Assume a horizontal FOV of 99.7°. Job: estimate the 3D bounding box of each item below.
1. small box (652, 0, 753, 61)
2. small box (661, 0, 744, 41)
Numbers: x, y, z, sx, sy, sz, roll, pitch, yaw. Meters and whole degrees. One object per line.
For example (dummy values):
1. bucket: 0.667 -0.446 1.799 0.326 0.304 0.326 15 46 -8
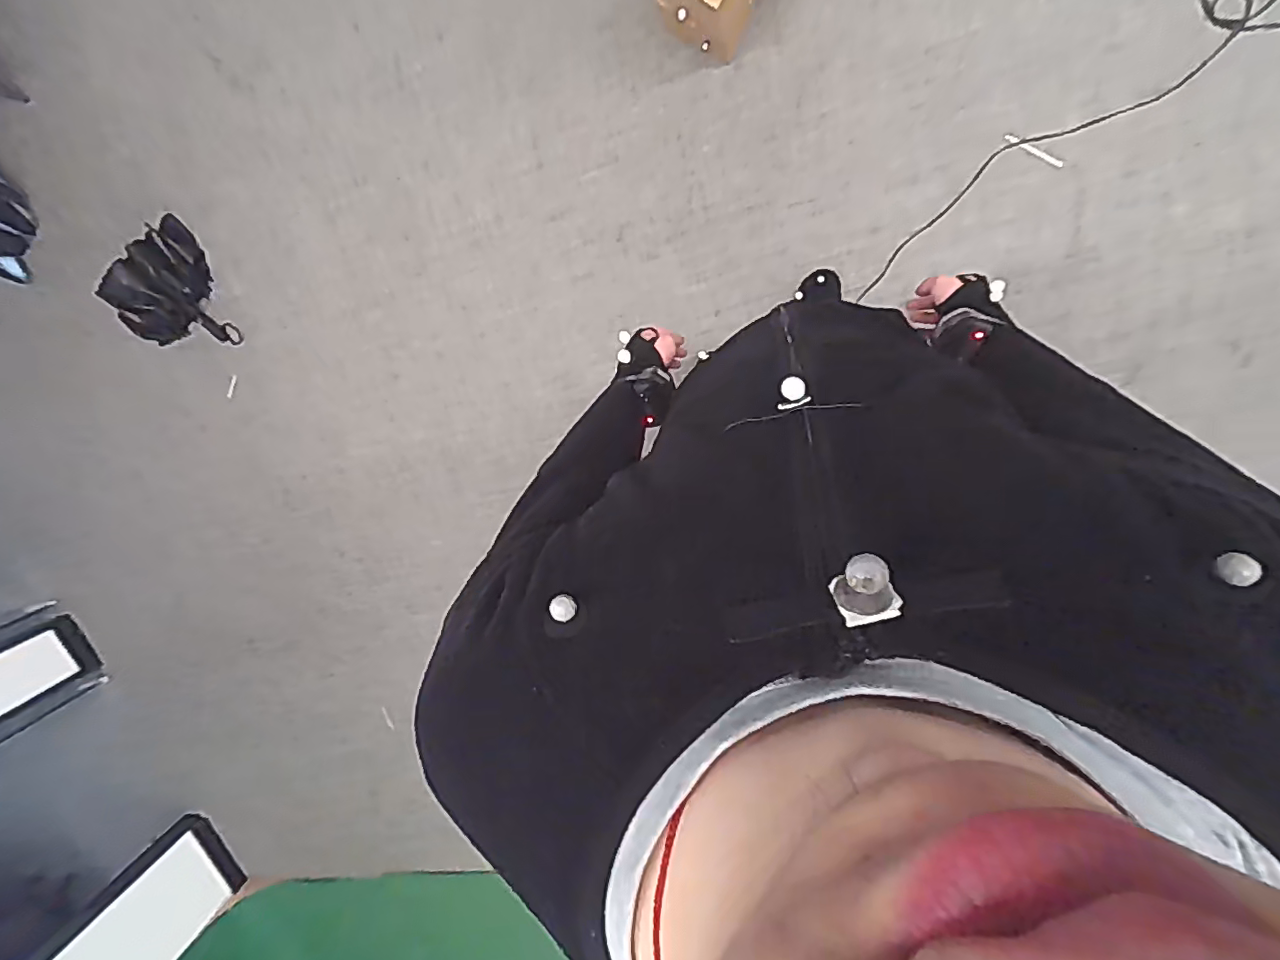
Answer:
1. small box: 0.147 -1.048 1.153 0.168 0.176 0.179 28 113 1
2. small box: 0.128 -0.981 1.003 0.168 0.176 0.179 35 115 -2
